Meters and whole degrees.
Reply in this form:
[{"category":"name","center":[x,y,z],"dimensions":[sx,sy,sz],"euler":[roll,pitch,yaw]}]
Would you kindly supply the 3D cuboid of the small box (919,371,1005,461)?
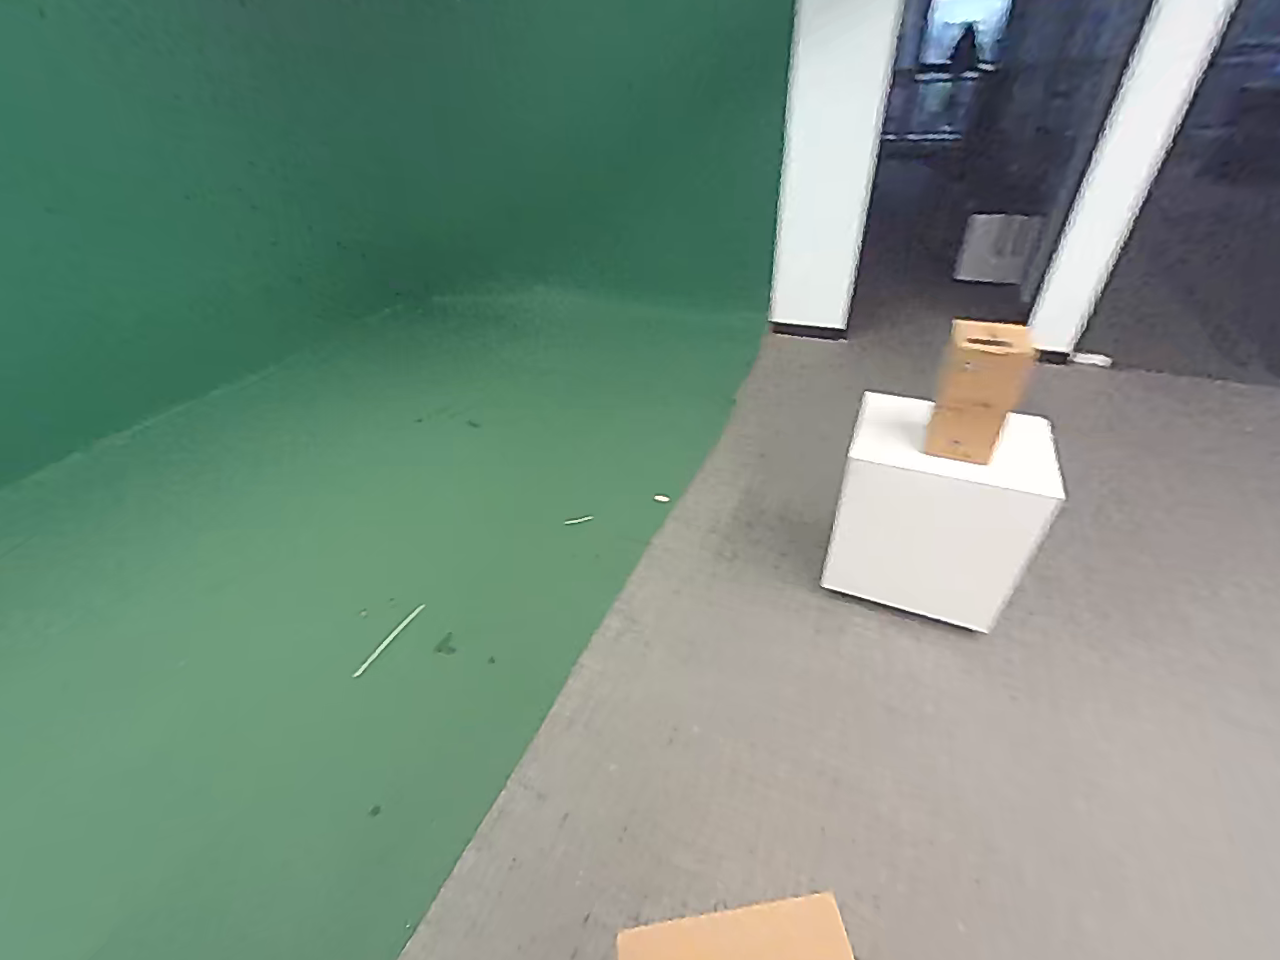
[{"category":"small box","center":[0.889,-0.179,1.503],"dimensions":[0.168,0.176,0.179],"euler":[13,42,21]}]
